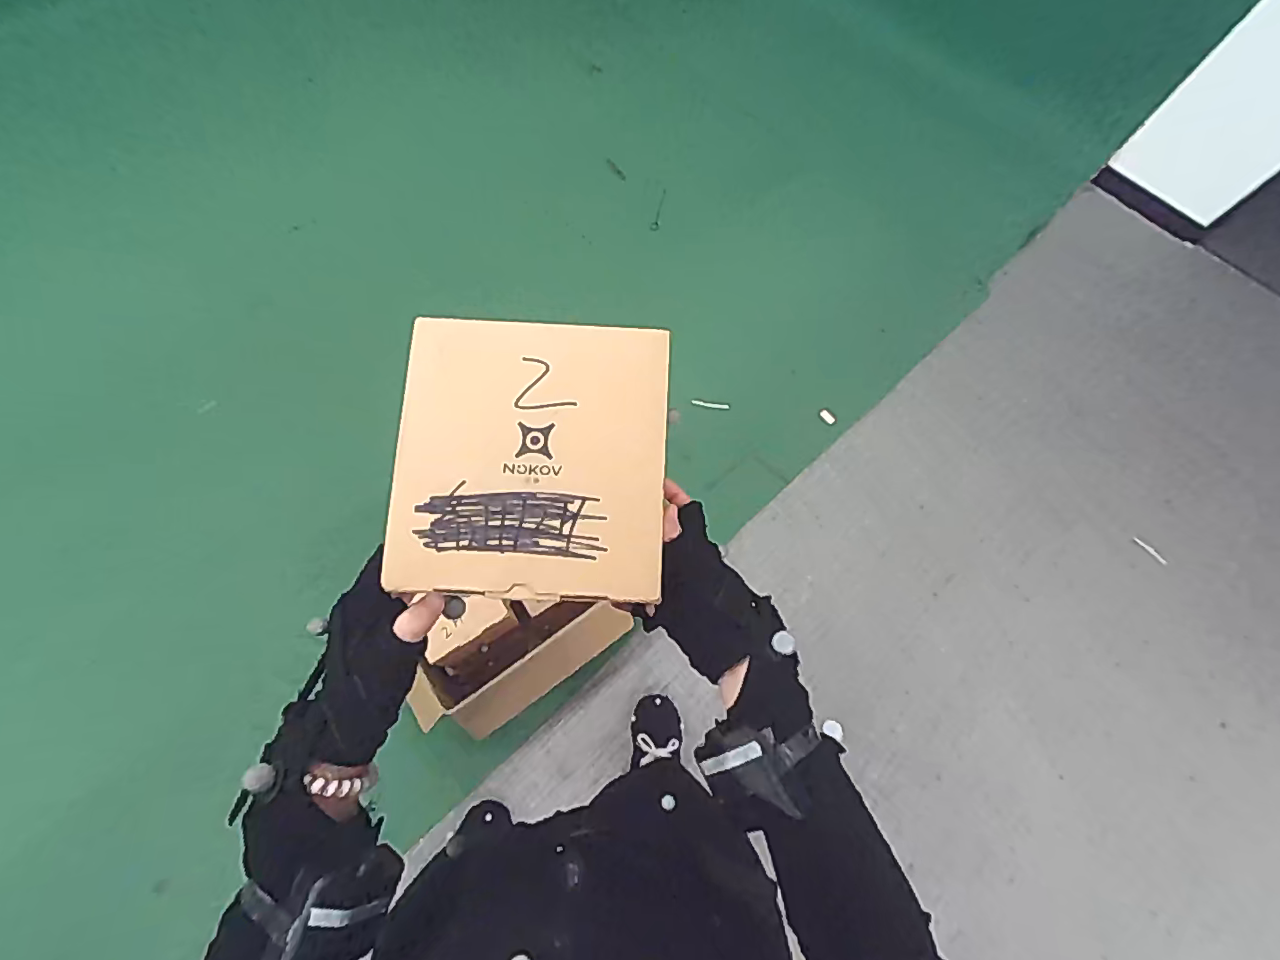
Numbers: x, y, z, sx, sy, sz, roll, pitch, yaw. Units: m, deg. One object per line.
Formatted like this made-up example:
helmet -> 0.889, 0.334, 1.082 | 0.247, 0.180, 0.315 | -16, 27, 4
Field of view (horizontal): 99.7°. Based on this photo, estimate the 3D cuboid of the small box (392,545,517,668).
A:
small box -> -0.369, 0.263, 1.100 | 0.168, 0.176, 0.179 | -31, 74, -15
